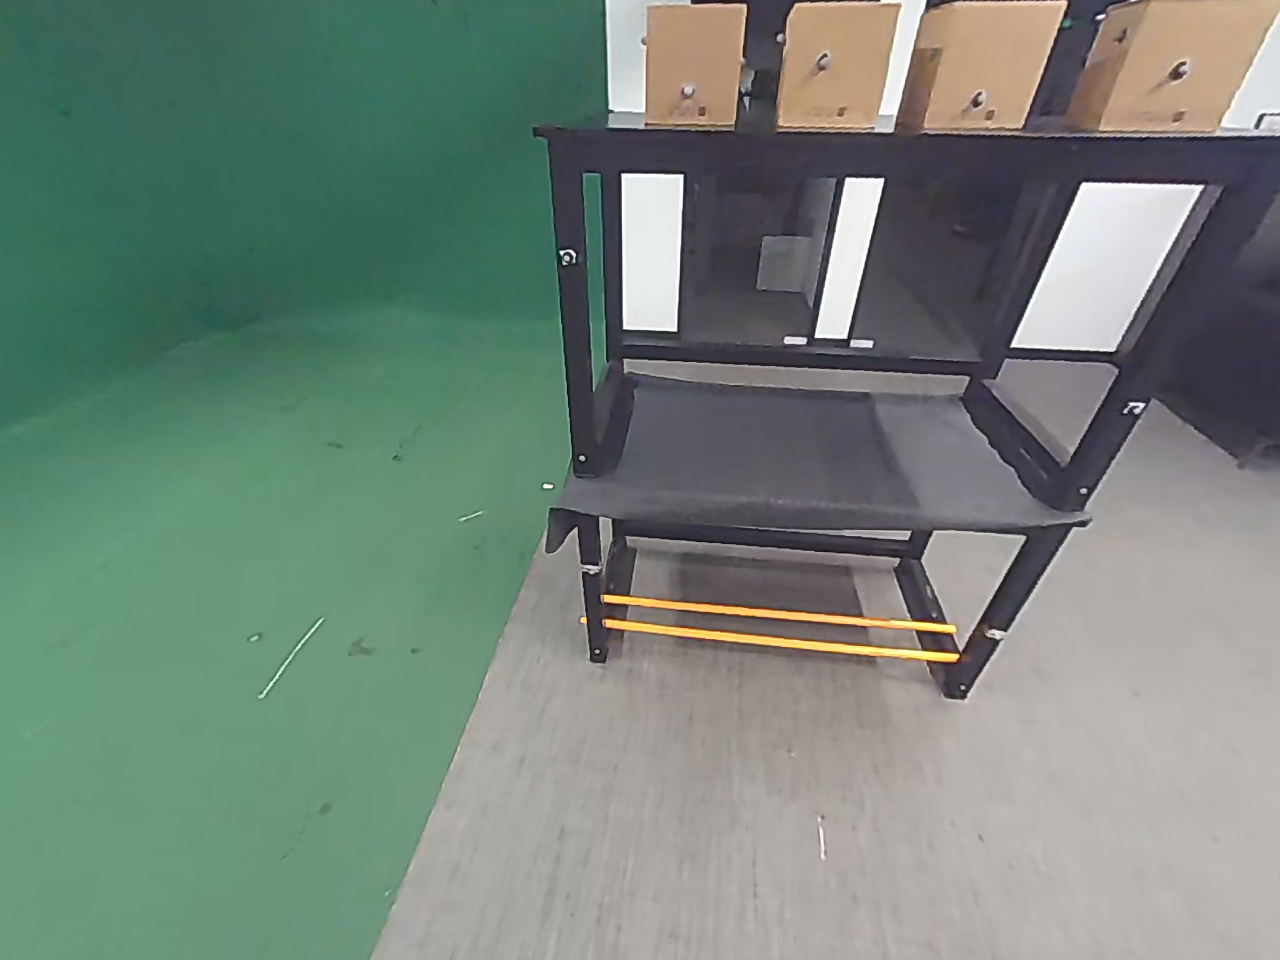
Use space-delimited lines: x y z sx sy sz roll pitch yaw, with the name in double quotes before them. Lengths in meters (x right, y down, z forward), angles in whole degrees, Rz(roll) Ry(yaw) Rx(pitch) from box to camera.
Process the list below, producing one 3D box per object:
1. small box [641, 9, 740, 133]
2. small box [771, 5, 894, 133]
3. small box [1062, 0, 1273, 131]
"small box" 0.089 -0.751 1.001 0.168 0.176 0.179 2 37 3
"small box" 0.329 -0.721 0.960 0.168 0.176 0.179 5 36 7
"small box" 0.837 -0.670 0.879 0.168 0.176 0.179 10 37 14
